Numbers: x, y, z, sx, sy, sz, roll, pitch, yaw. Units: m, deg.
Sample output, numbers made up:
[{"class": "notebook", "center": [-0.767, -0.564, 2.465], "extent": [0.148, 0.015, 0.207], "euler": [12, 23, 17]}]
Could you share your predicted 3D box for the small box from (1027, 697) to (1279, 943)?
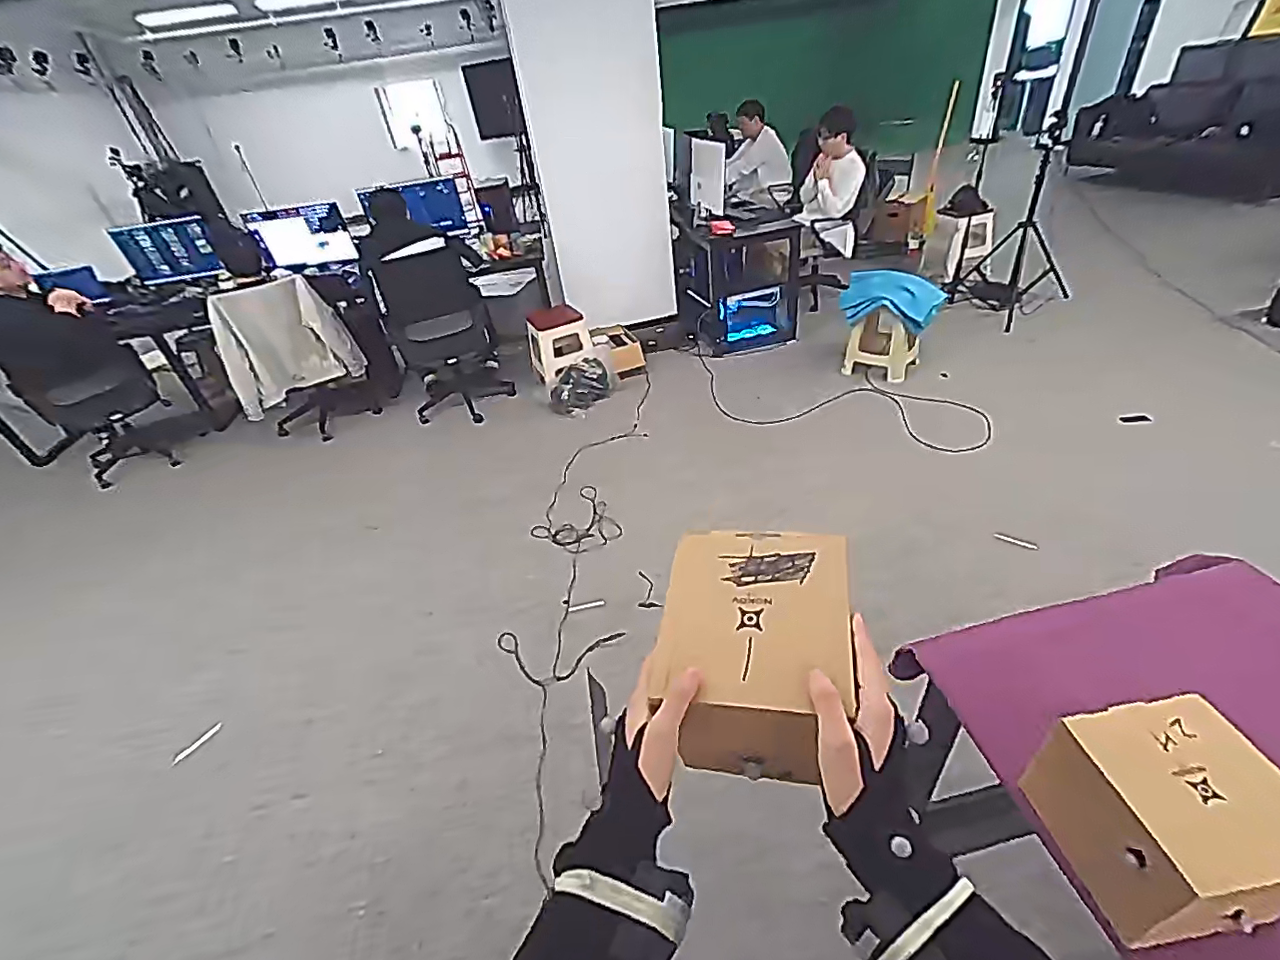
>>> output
[{"class": "small box", "center": [0.580, 0.375, 0.595], "extent": [0.168, 0.176, 0.179], "euler": [-10, 36, -1]}]

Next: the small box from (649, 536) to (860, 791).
[{"class": "small box", "center": [0.121, 0.174, 0.531], "extent": [0.168, 0.176, 0.179], "euler": [-2, 45, 19]}]
